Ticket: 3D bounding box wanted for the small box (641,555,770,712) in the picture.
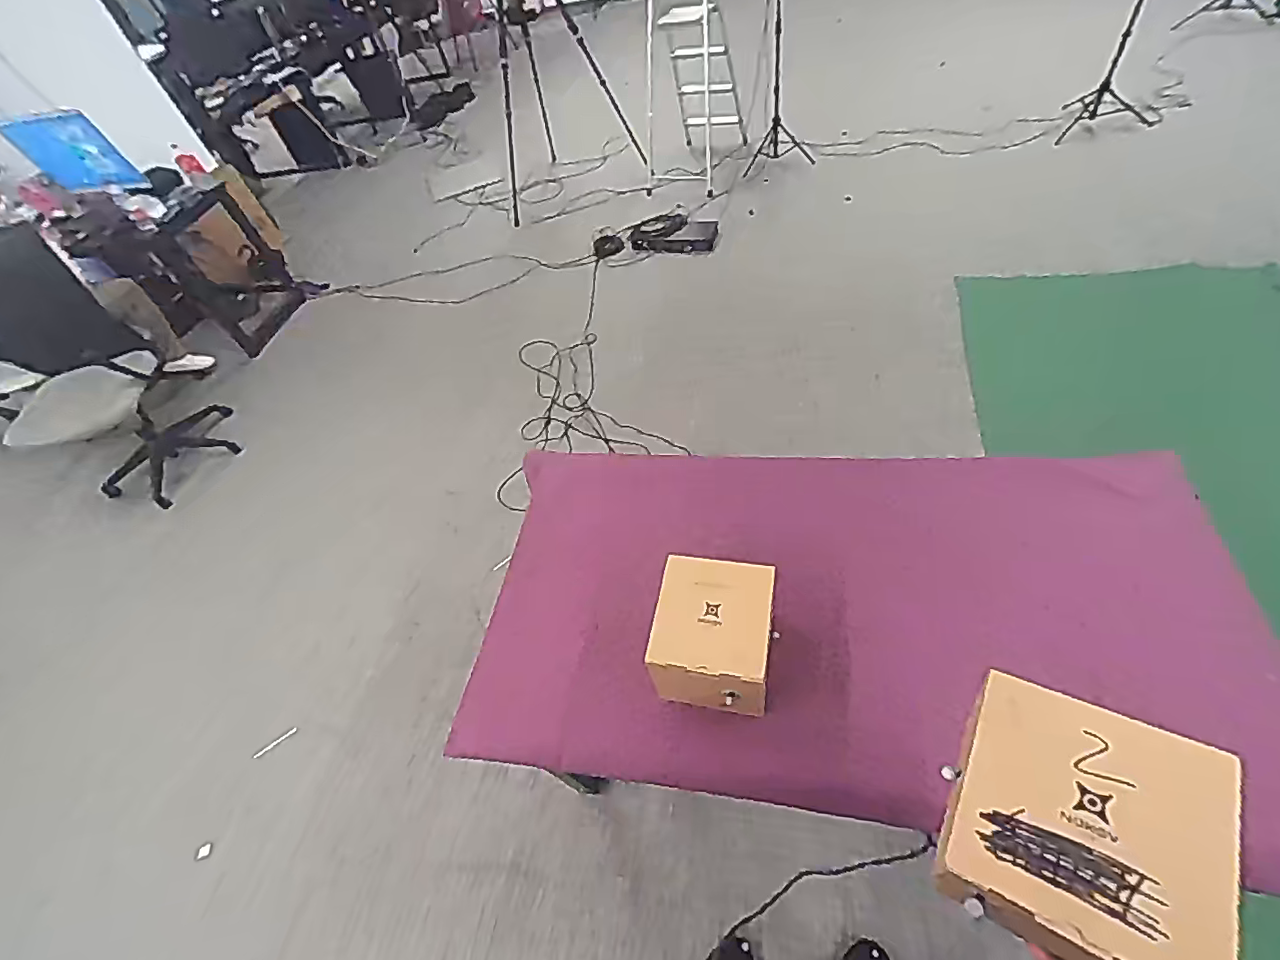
[{"bbox_3d":[0.111,0.243,0.847,0.168,0.176,0.179,6,53,15],"label":"small box"}]
